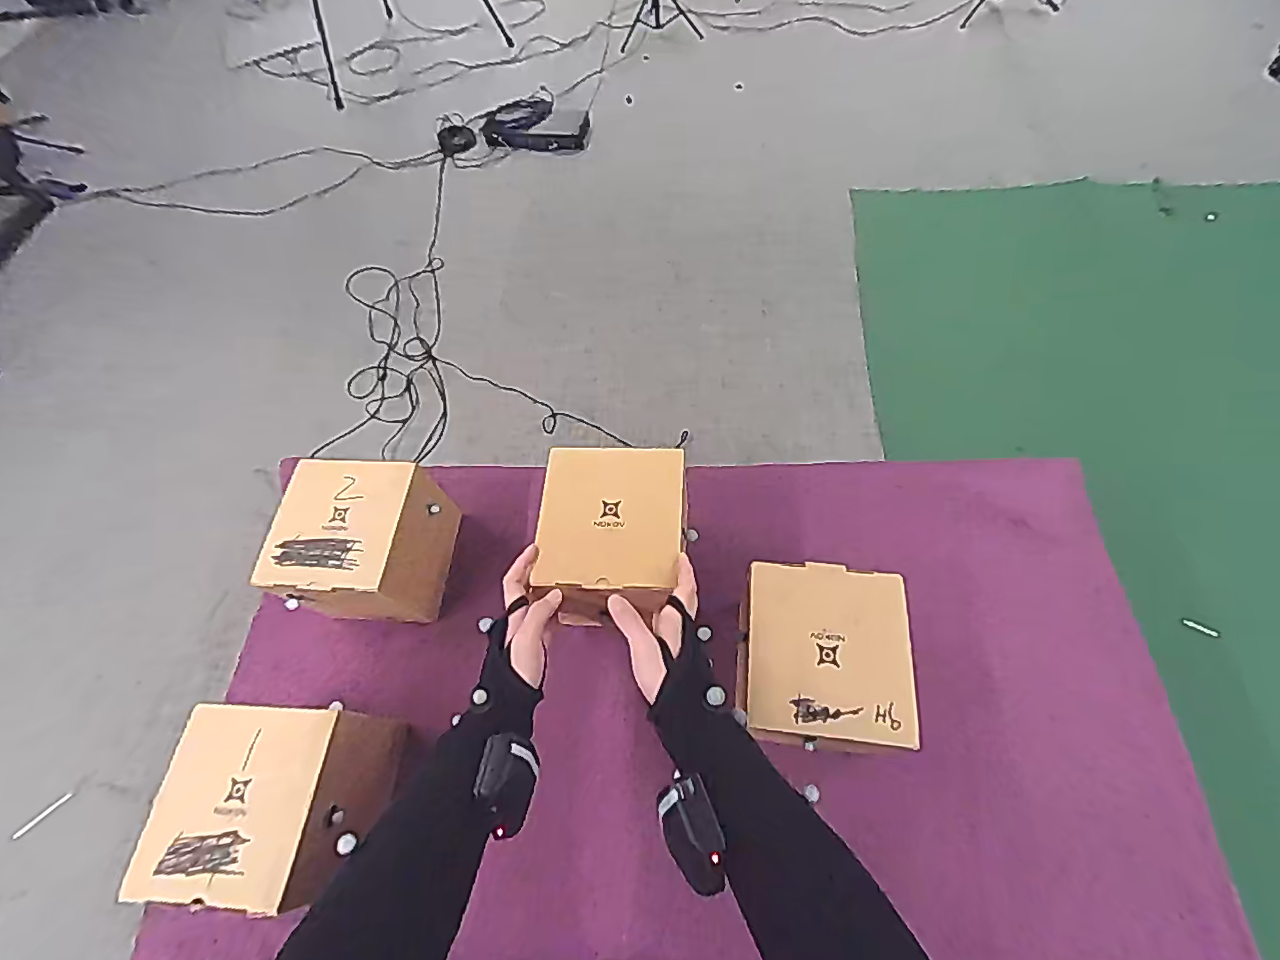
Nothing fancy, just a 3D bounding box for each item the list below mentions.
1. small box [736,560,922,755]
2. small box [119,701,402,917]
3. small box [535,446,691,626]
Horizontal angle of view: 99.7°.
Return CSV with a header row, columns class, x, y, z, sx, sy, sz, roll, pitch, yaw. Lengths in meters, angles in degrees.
class,x,y,z,sx,sy,sz,roll,pitch,yaw
small box,0.205,0.212,0.632,0.168,0.176,0.179,5,62,8
small box,-0.394,0.354,0.604,0.168,0.176,0.179,1,61,5
small box,-0.022,0.074,0.684,0.168,0.176,0.179,1,62,5
